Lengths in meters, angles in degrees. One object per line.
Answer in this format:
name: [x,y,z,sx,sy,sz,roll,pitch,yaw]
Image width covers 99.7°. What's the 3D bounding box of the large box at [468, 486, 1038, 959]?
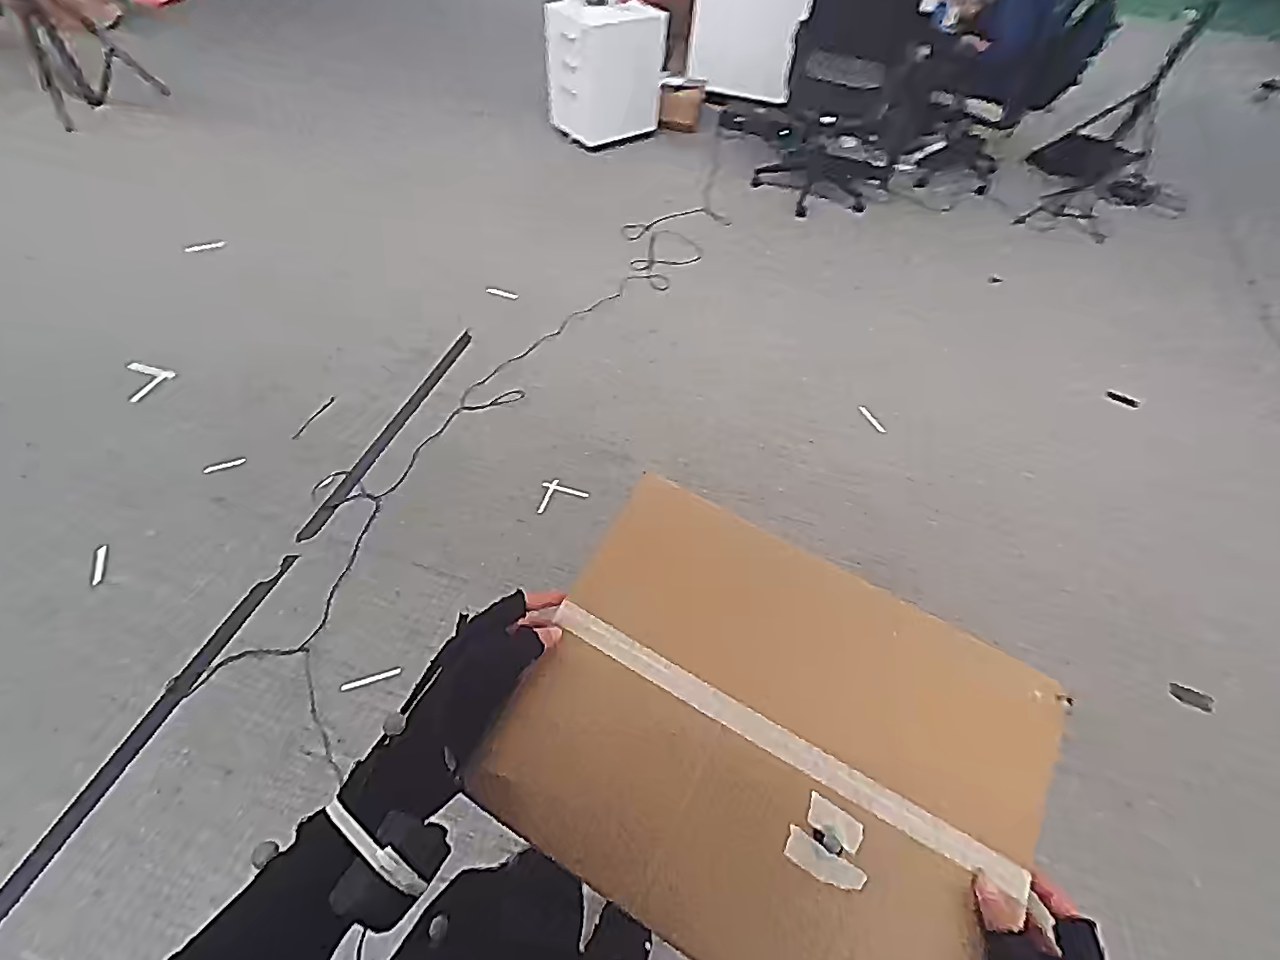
large box: [0.101,0.269,0.590,0.408,0.320,0.320,27,69,11]
